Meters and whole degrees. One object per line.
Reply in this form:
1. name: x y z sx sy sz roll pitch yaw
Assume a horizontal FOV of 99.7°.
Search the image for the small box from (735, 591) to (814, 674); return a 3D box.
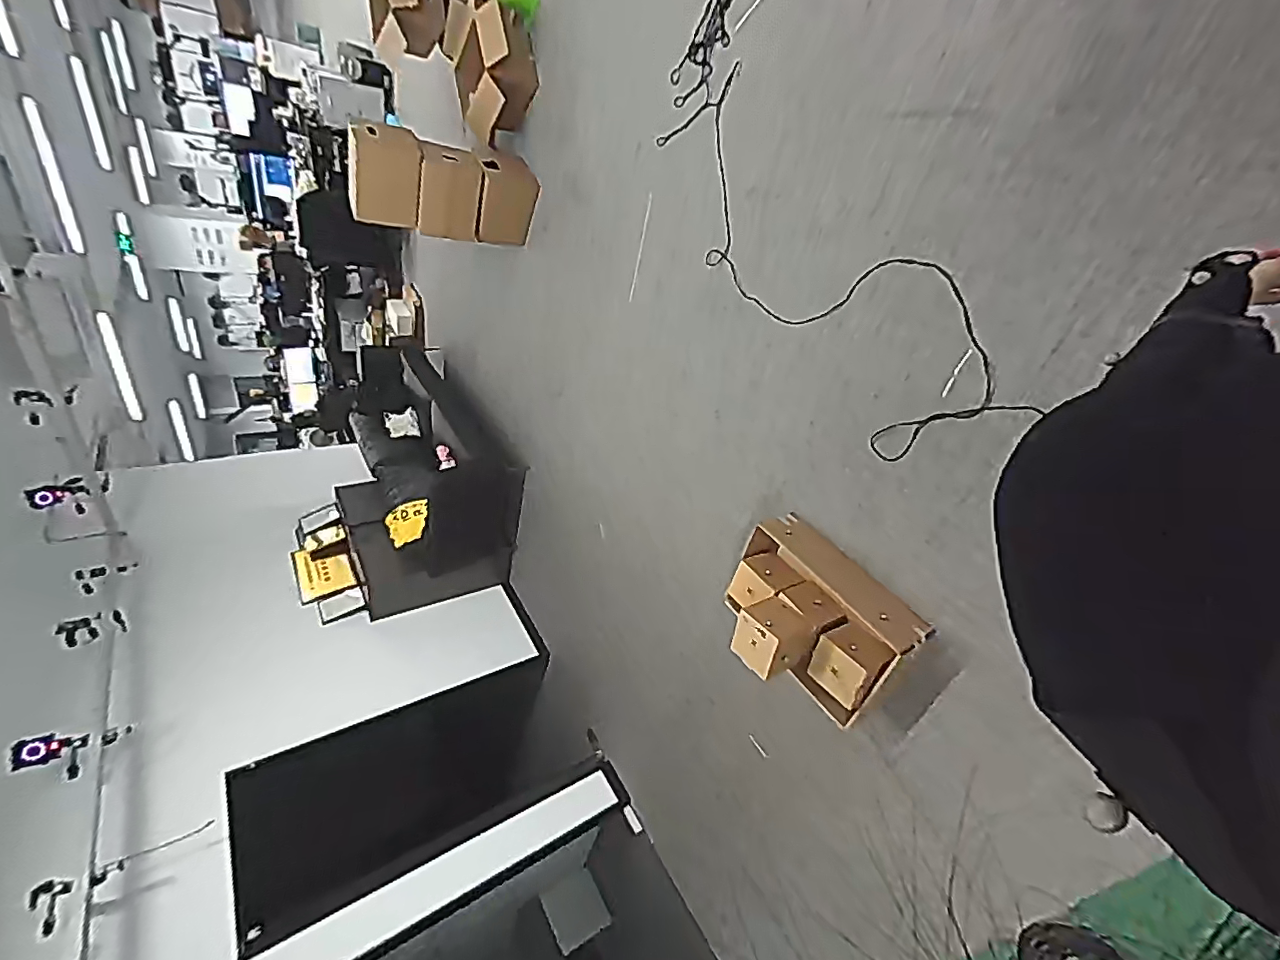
1. small box: 0.444 0.495 1.775 0.168 0.176 0.179 37 128 44
